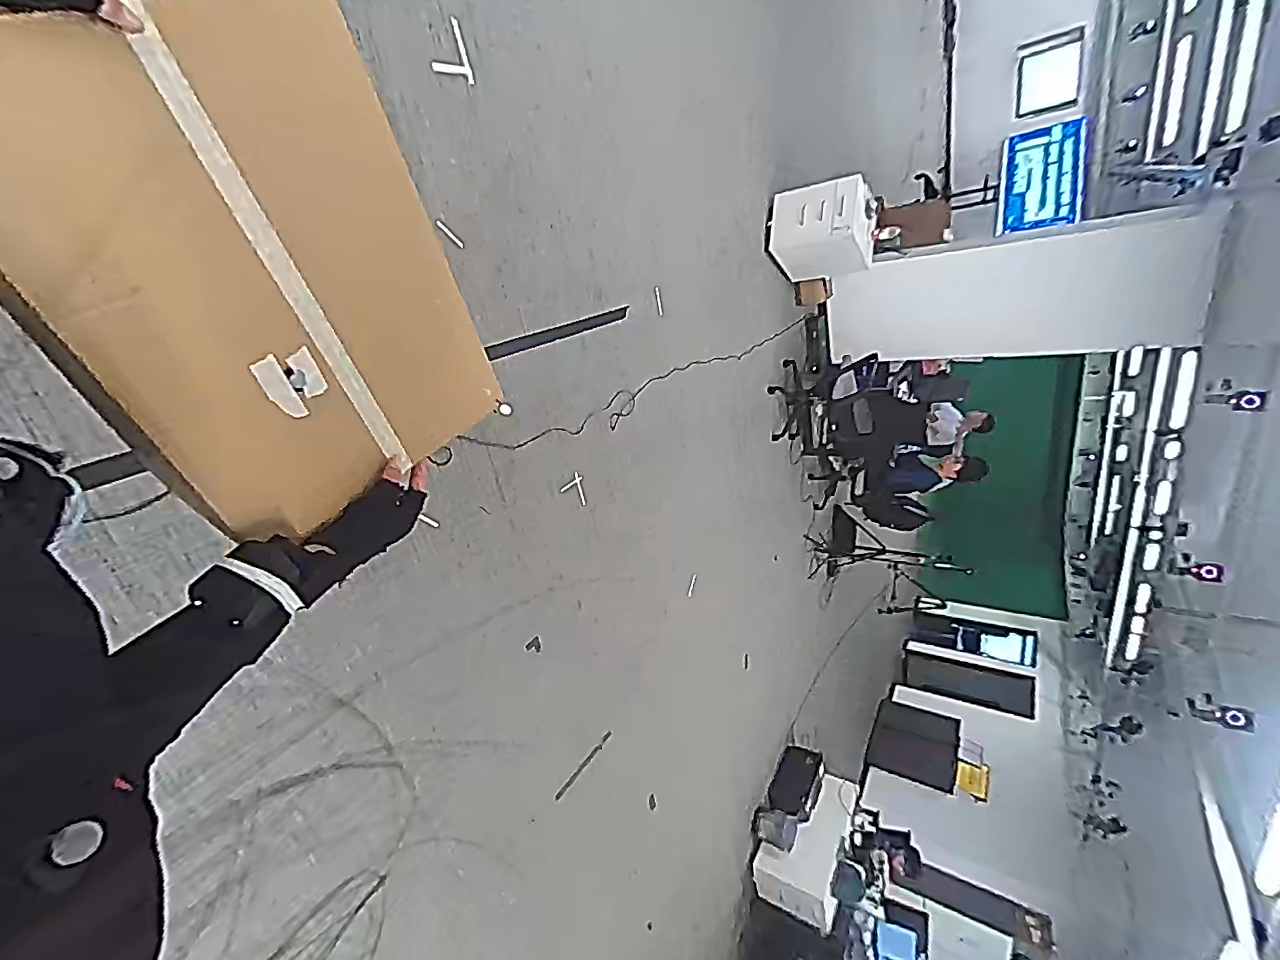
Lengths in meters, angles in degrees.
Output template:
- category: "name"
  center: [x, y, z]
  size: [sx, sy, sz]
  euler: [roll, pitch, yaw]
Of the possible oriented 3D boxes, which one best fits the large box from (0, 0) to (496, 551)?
- category: "large box"
  center: [-0.432, -0.201, 0.577]
  size: [0.320, 0.320, 0.408]
  euler: [-44, 134, -35]
